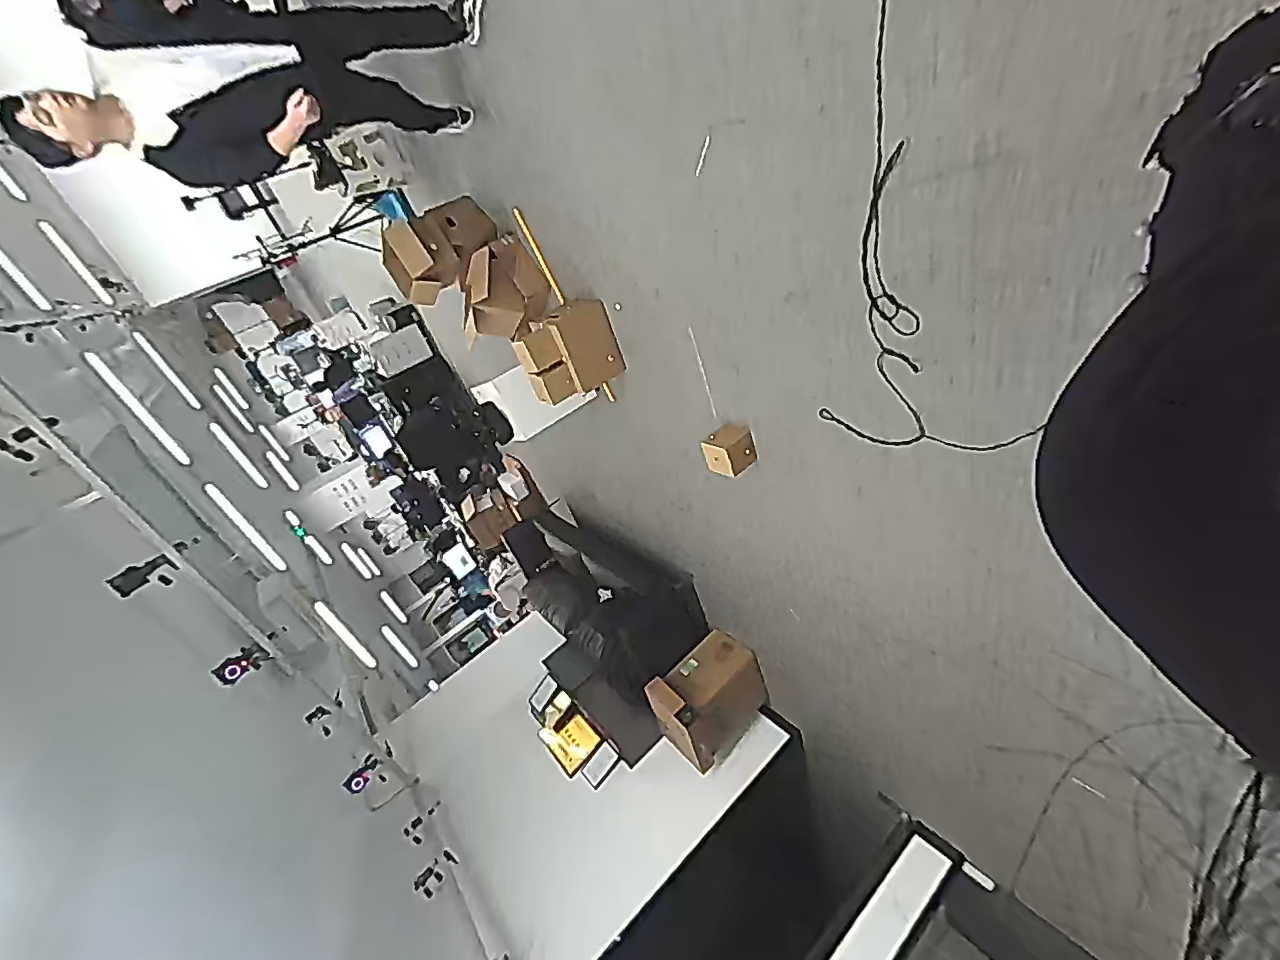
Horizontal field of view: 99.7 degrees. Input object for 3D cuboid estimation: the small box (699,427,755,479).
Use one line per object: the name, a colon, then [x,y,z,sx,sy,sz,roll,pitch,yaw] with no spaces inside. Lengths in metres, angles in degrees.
small box: [0.415,-0.134,2.568,0.179,0.176,0.168,22,142,50]
